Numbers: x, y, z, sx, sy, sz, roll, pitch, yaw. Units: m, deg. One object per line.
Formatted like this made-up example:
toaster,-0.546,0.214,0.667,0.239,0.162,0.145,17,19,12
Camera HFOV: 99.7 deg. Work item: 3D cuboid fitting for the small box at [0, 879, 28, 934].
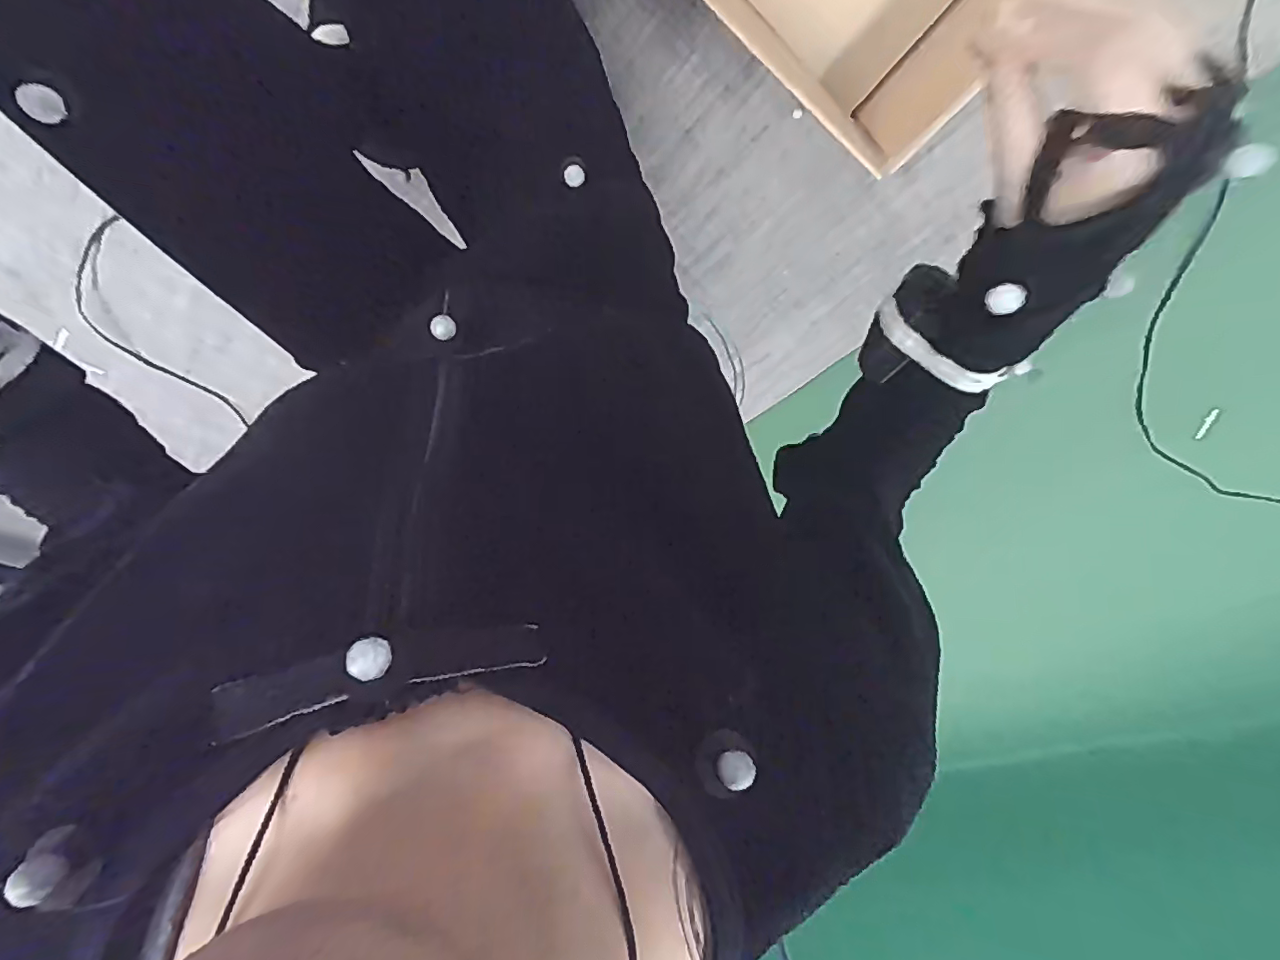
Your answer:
small box,-1.483,0.963,1.156,0.179,0.176,0.168,27,135,-31
